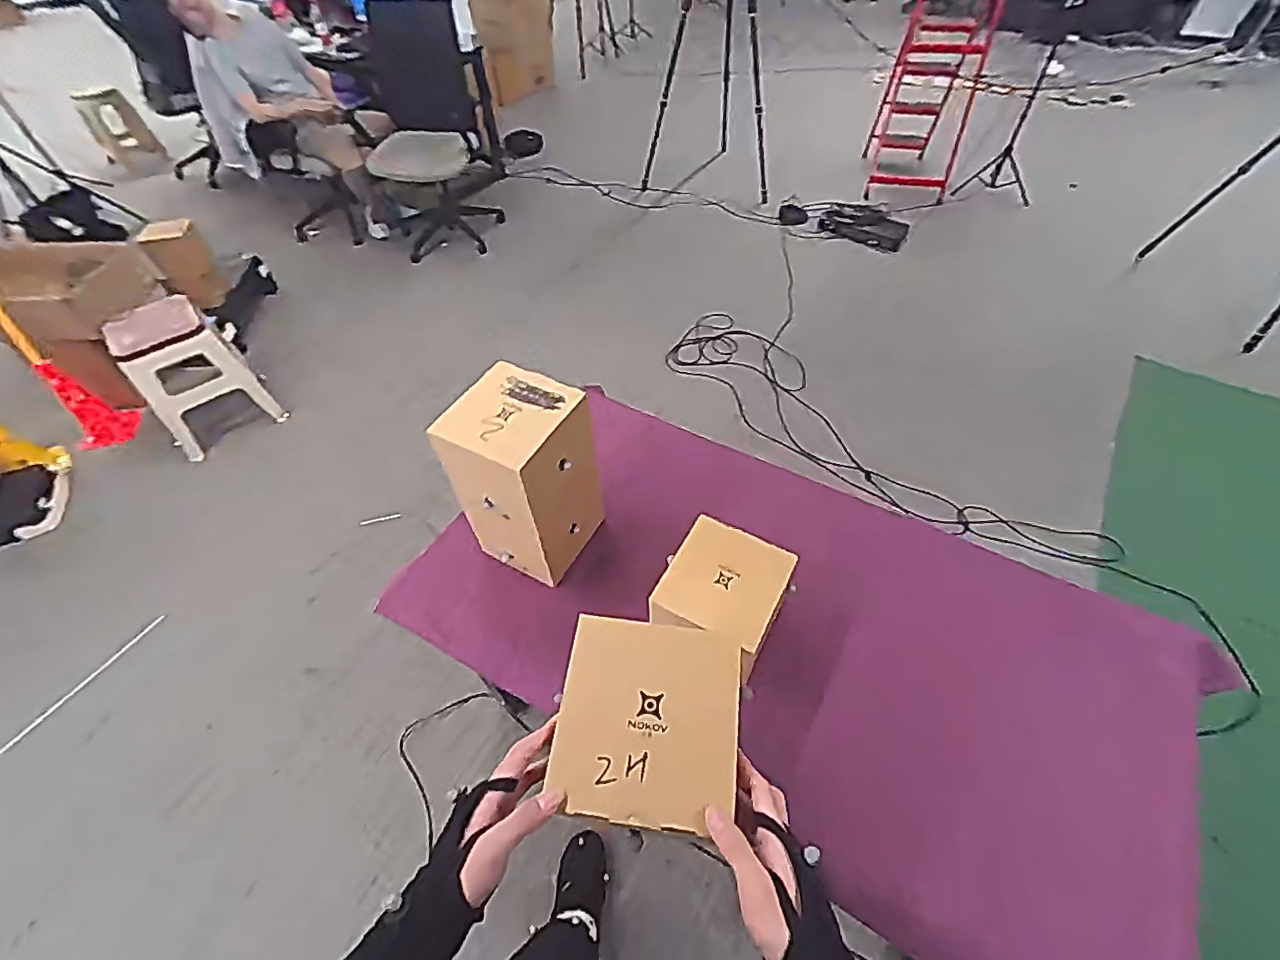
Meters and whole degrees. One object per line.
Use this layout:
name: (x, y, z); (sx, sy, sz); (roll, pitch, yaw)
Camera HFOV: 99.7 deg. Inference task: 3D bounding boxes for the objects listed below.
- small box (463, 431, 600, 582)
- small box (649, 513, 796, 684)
small box: (-0.183, 0.050, 0.973); (0.168, 0.176, 0.179); (23, 56, 18)
small box: (0.128, 0.191, 0.857); (0.168, 0.176, 0.179); (23, 55, 19)
